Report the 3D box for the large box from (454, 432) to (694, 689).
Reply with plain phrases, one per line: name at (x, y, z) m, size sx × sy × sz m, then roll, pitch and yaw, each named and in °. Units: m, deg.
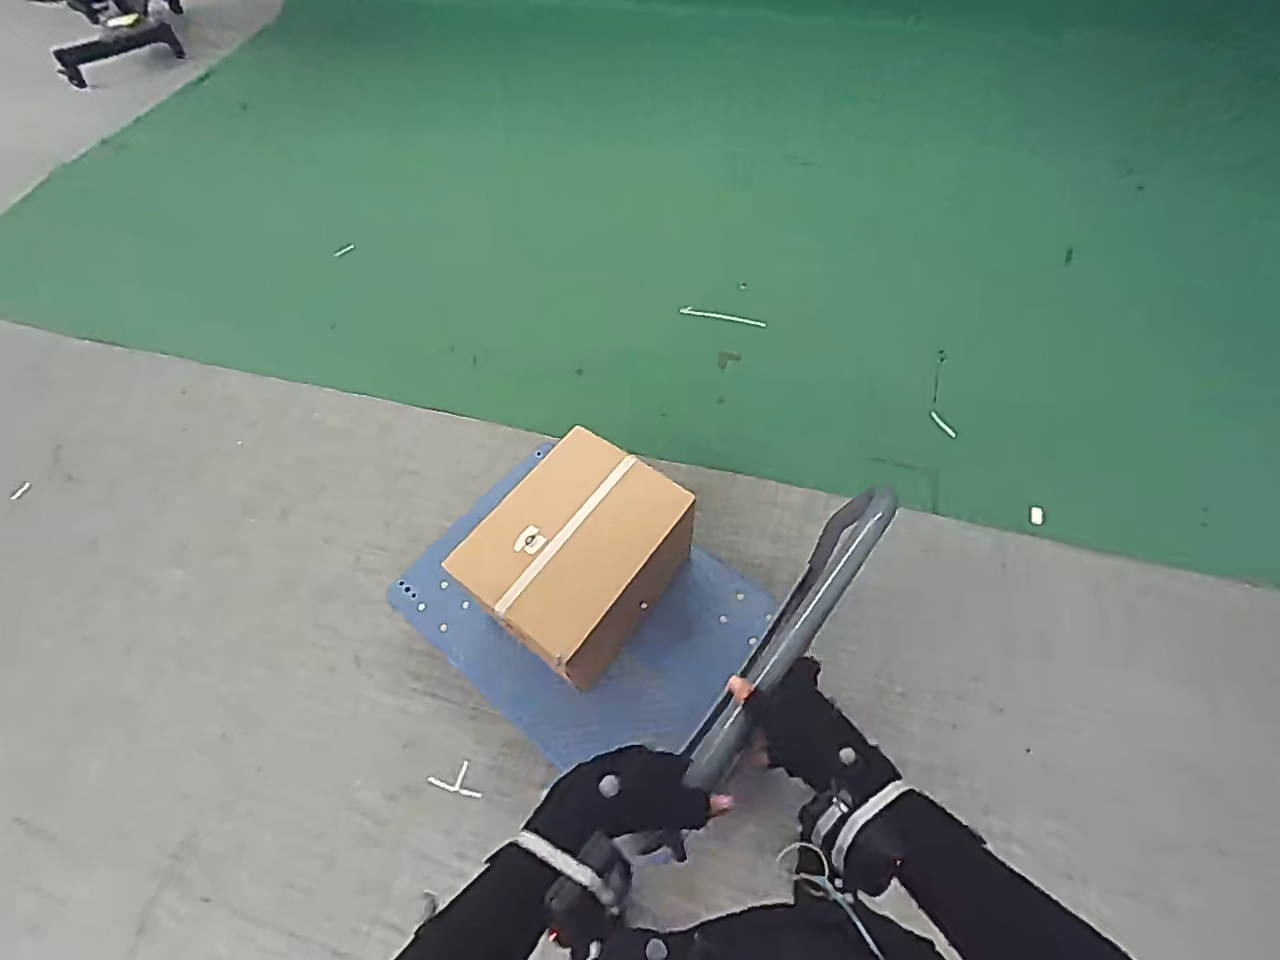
large box at (-0.117, 0.180, 1.192) m, size 0.320 × 0.320 × 0.408 m, roll 31°, pitch 67°, yaw 20°
